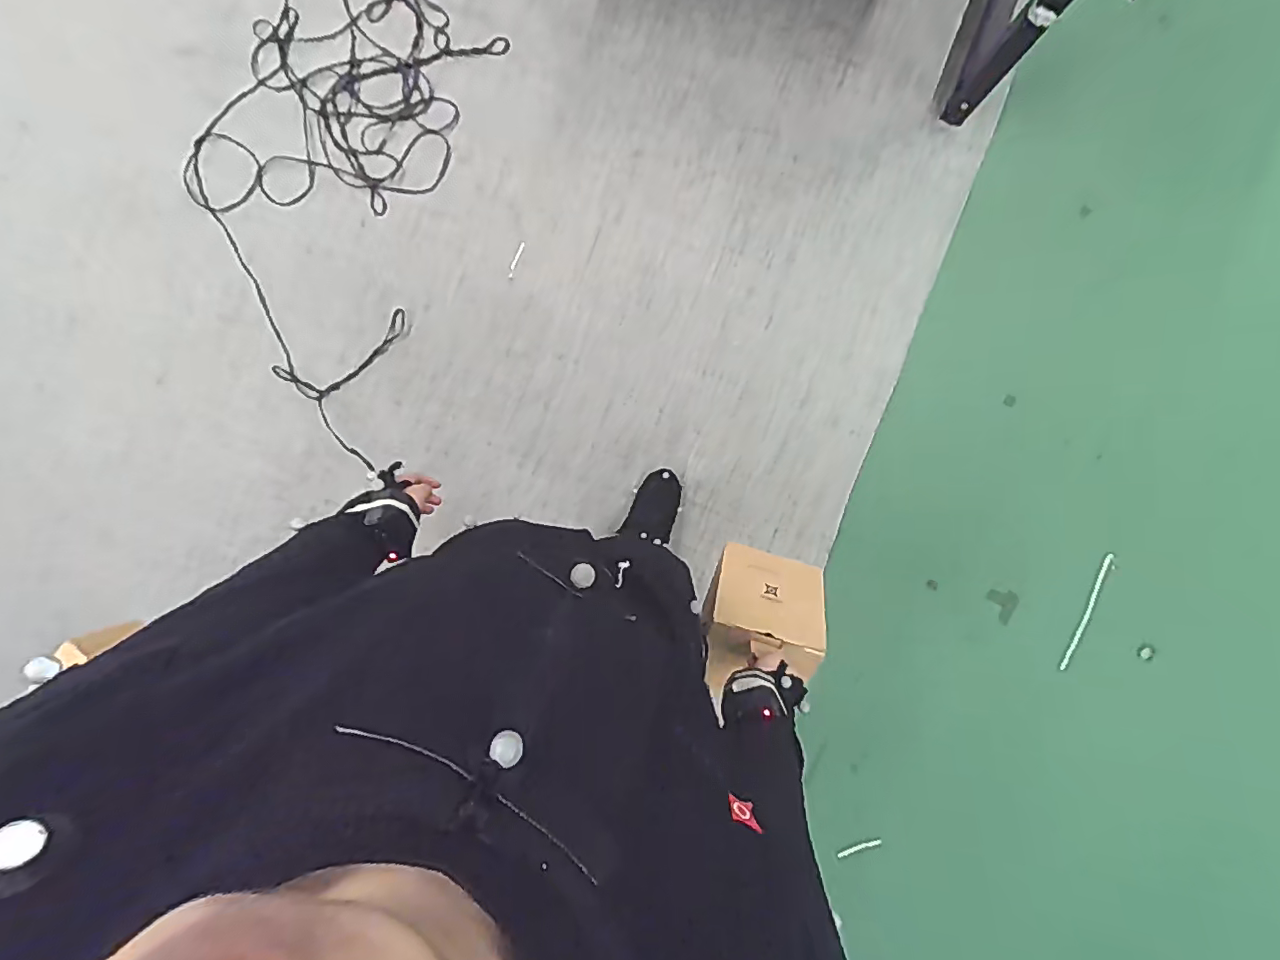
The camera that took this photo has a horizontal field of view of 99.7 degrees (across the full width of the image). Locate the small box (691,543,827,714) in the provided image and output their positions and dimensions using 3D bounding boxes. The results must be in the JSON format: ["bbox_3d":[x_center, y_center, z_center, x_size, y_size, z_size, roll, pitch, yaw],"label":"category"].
[{"bbox_3d":[0.186,0.237,0.863,0.168,0.179,0.176,17,126,5],"label":"small box"}]

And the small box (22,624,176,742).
[{"bbox_3d":[-1.300,0.484,1.314,0.168,0.176,0.179,39,91,0],"label":"small box"}]
